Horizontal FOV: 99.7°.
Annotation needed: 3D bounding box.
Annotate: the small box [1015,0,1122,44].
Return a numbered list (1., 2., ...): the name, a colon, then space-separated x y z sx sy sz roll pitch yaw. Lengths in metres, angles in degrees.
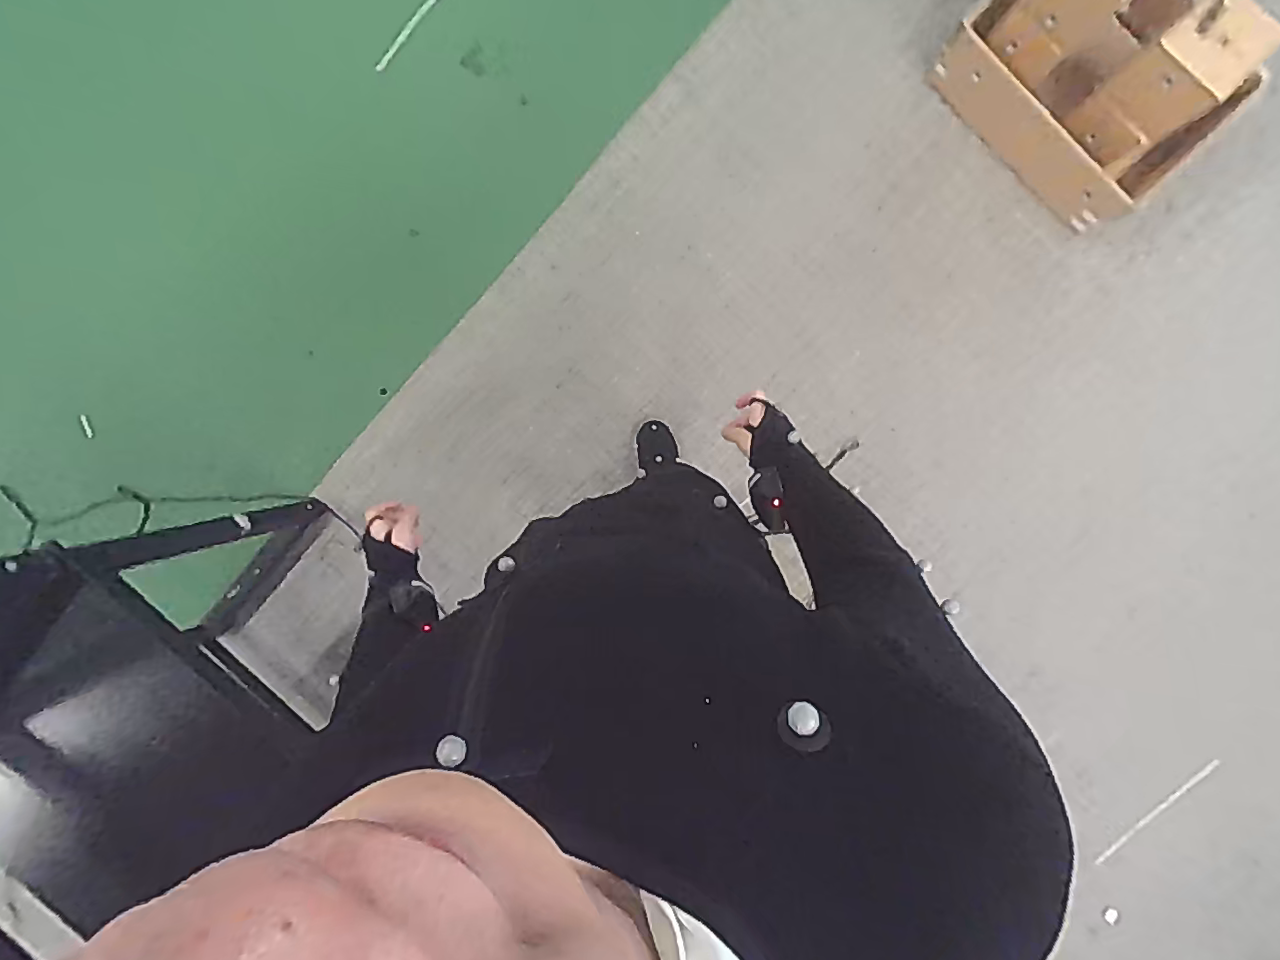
1. small box: 0.964 -1.090 1.153 0.179 0.176 0.168 44 96 -2

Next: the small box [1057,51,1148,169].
1. small box: 1.174 -0.910 1.321 0.179 0.176 0.168 -43 91 6

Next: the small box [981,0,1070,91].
1. small box: 0.975 -1.109 1.315 0.179 0.176 0.168 -45 91 5

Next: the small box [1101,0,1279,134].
1. small box: 1.161 -0.895 1.156 0.179 0.176 0.168 42 97 -1
